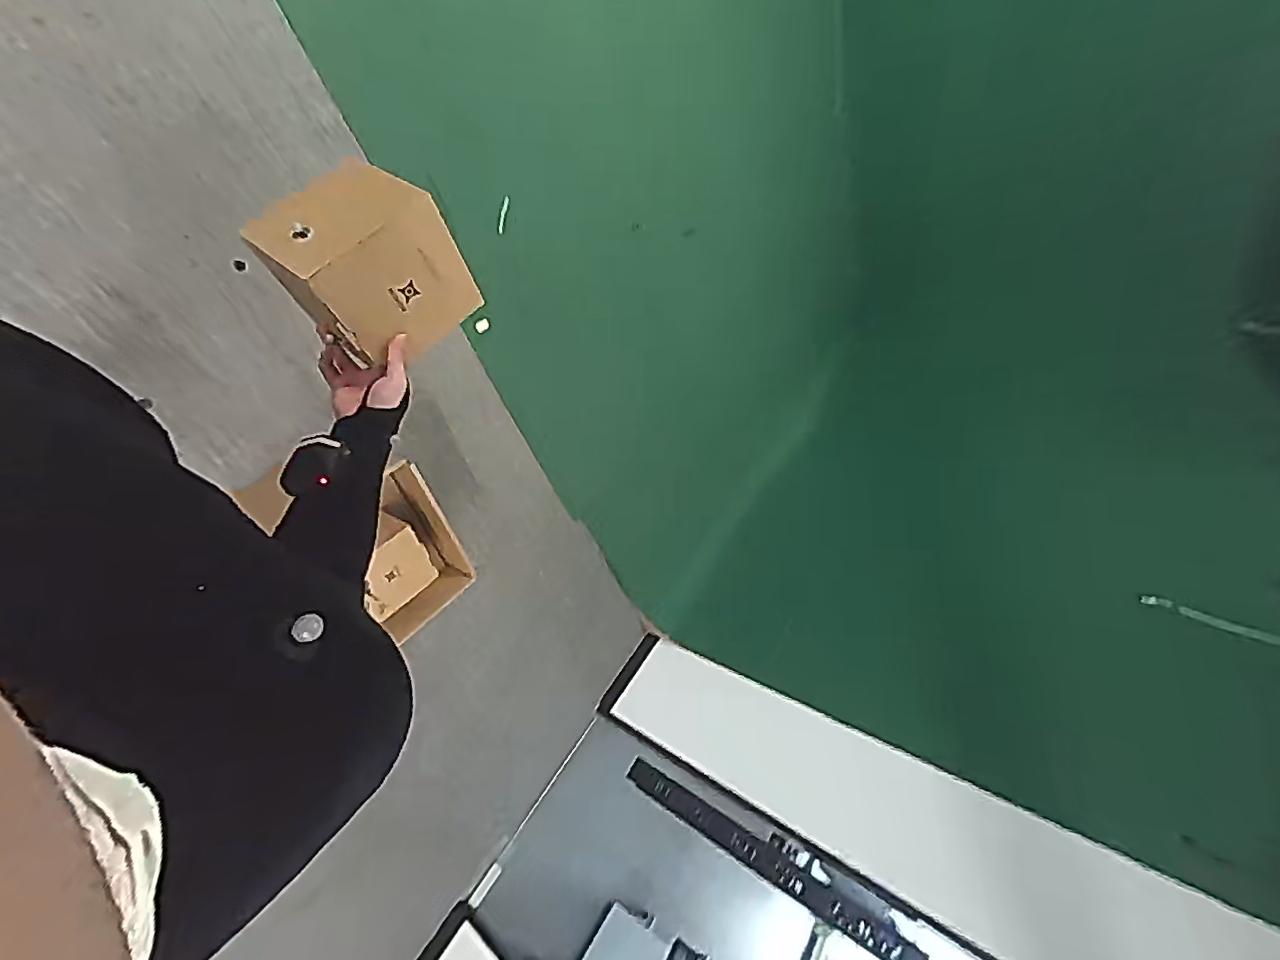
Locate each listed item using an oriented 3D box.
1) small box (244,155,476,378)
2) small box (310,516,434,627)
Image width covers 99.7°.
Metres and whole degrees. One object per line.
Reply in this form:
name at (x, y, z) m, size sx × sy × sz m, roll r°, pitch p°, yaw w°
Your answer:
small box at (-0.350, -0.269, 0.680) m, size 0.179 × 0.176 × 0.168 m, roll -48°, pitch 155°, yaw -18°
small box at (-0.637, 0.209, 1.287) m, size 0.179 × 0.176 × 0.168 m, roll -42°, pitch 131°, yaw -36°
